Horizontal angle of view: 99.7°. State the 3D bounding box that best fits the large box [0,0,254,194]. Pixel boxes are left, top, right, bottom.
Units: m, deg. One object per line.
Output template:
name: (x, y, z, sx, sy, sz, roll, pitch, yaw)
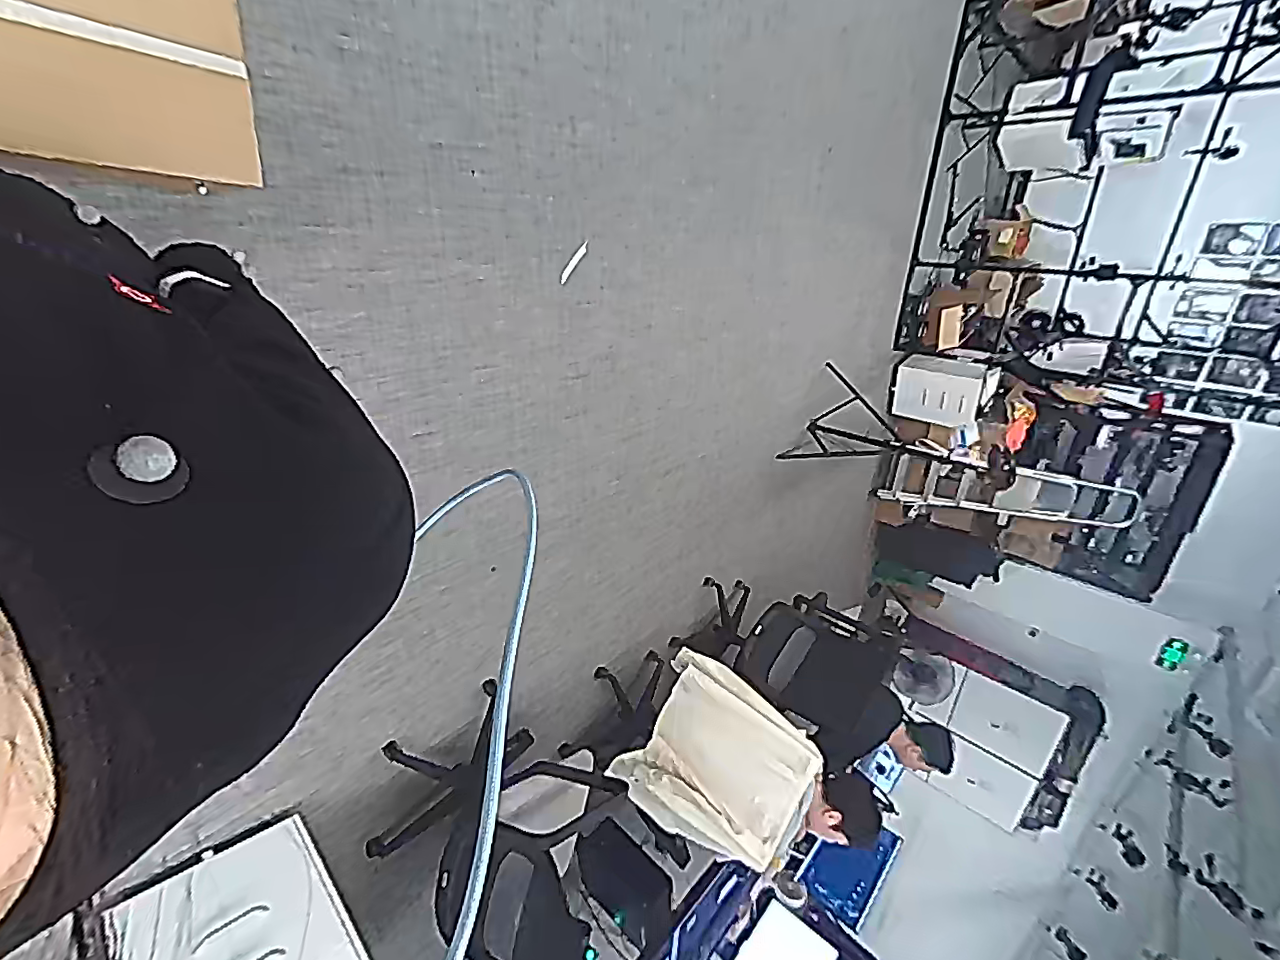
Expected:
large box: (-0.843, -0.598, 0.757, 0.408, 0.320, 0.320, -18, 119, -45)
